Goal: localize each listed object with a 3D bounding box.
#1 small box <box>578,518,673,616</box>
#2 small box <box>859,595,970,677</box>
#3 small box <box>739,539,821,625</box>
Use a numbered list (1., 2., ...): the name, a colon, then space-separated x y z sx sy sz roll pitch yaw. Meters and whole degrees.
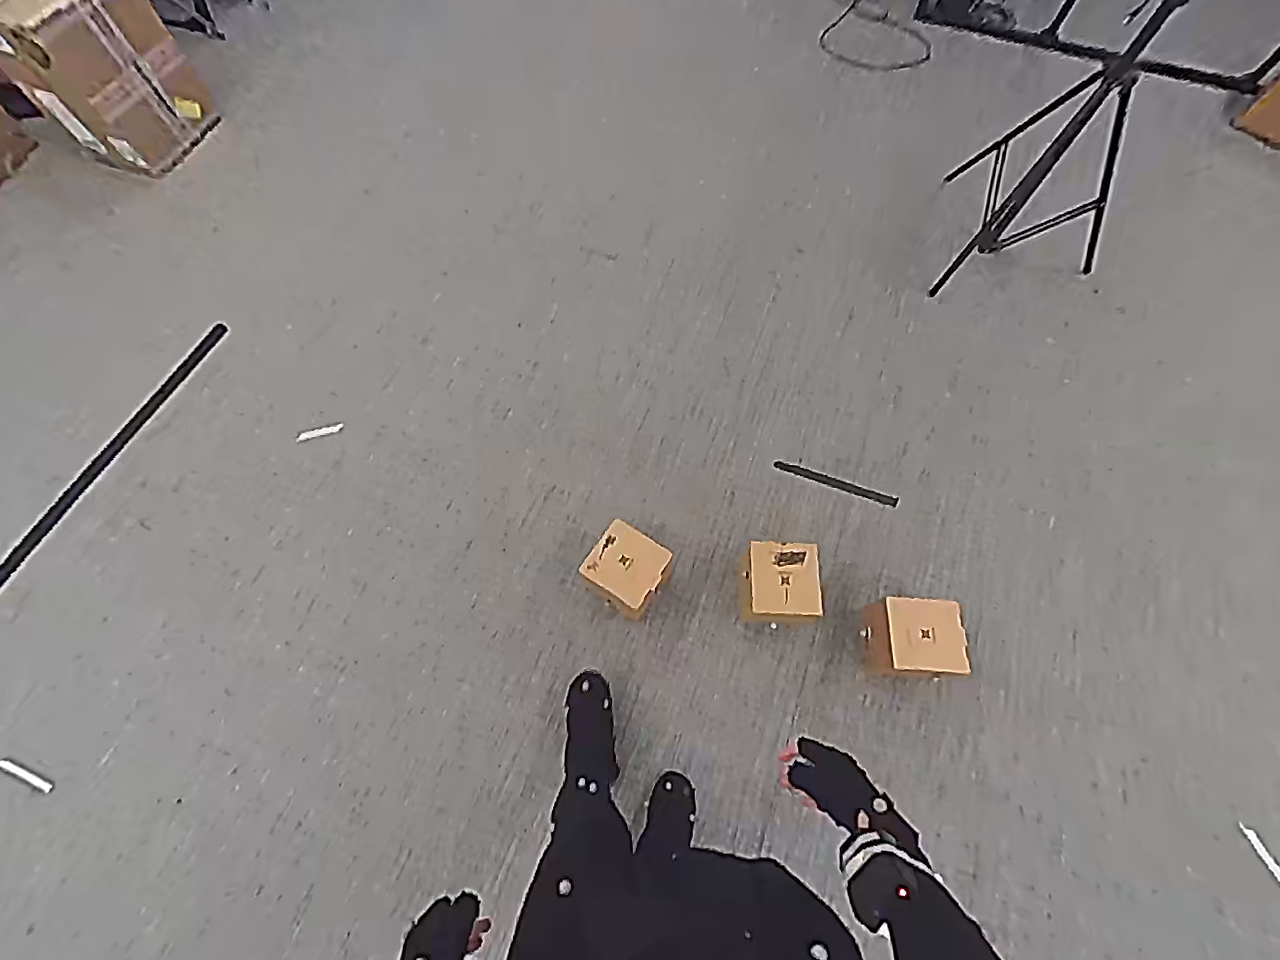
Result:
1. small box: -0.034 0.230 1.379 0.179 0.176 0.168 32 70 13
2. small box: 0.659 0.384 1.317 0.179 0.176 0.168 3 66 2
3. small box: 0.345 0.261 1.366 0.168 0.176 0.179 2 67 1
